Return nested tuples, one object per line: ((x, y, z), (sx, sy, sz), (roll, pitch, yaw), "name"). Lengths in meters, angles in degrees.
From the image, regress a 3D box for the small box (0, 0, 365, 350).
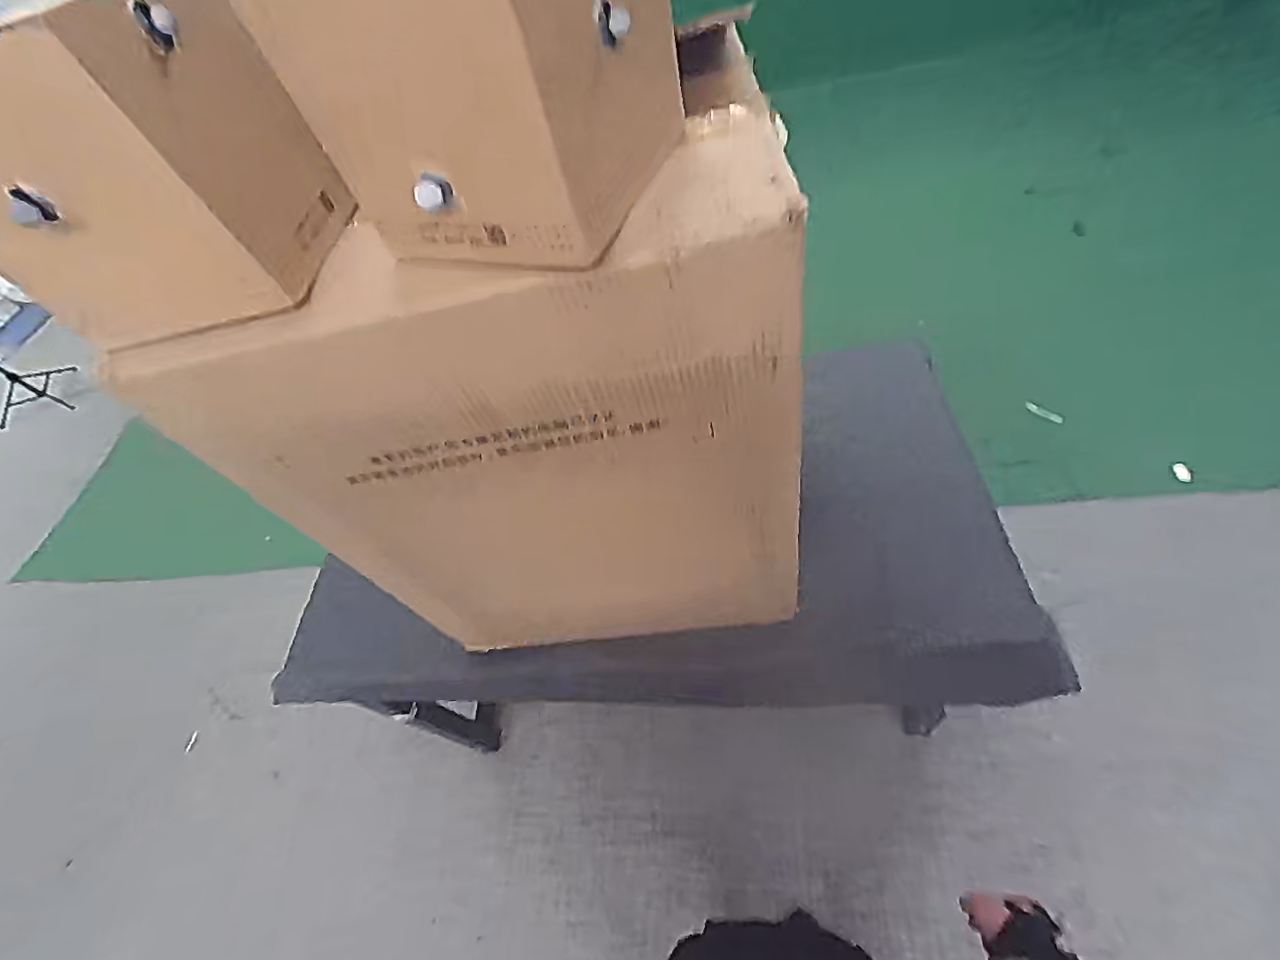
((-0.343, -0.216, 0.387), (0.179, 0.176, 0.168), (-10, 54, 11), "small box")
